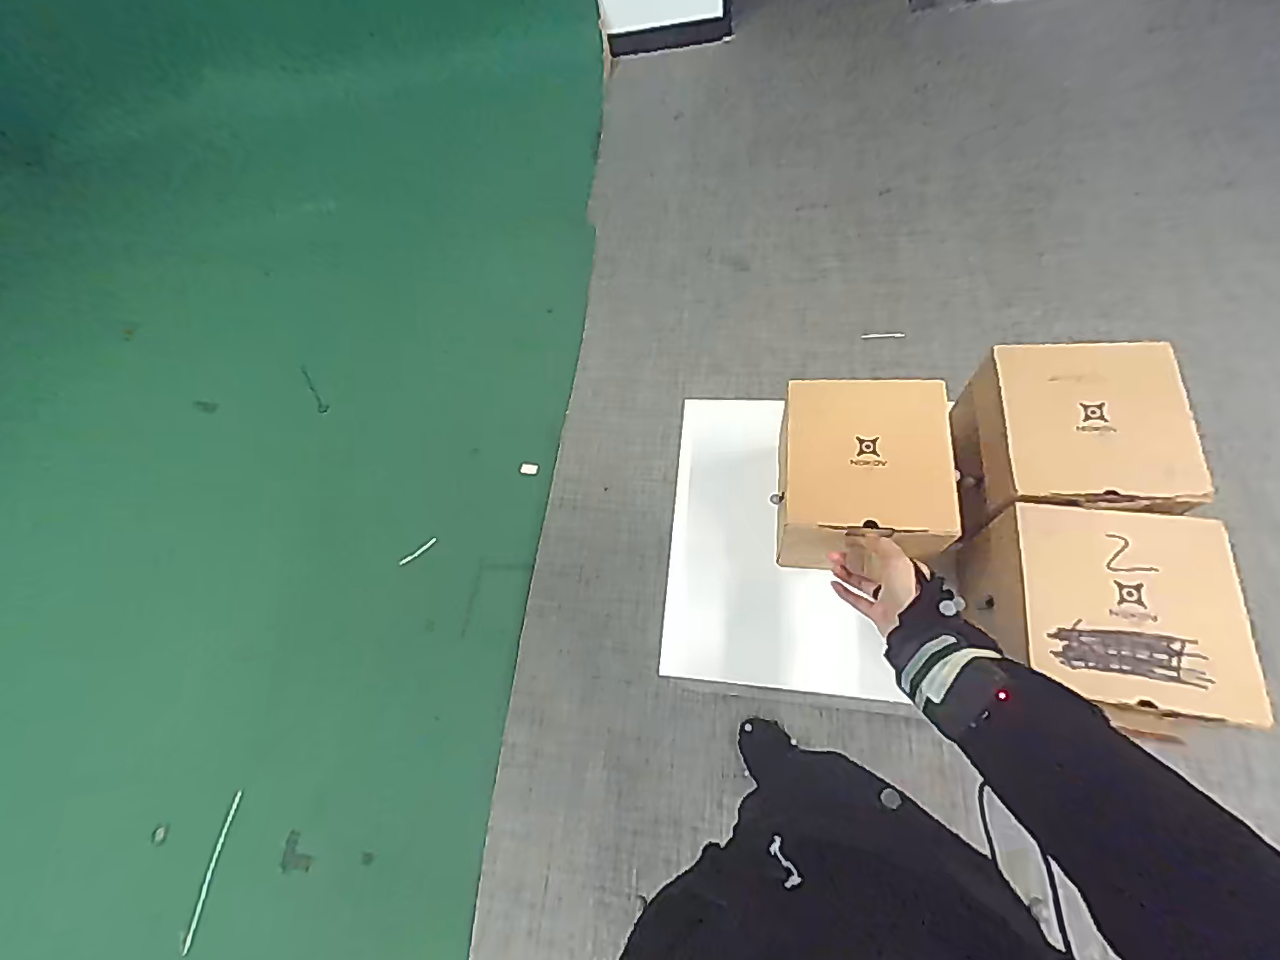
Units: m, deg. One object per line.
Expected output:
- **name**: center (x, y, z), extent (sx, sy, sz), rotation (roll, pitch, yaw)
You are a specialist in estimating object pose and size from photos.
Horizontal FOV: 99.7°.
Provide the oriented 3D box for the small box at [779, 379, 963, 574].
- **small box**: center (0.254, 0.001, 0.637), extent (0.168, 0.176, 0.179), rotation (2, 68, 12)
